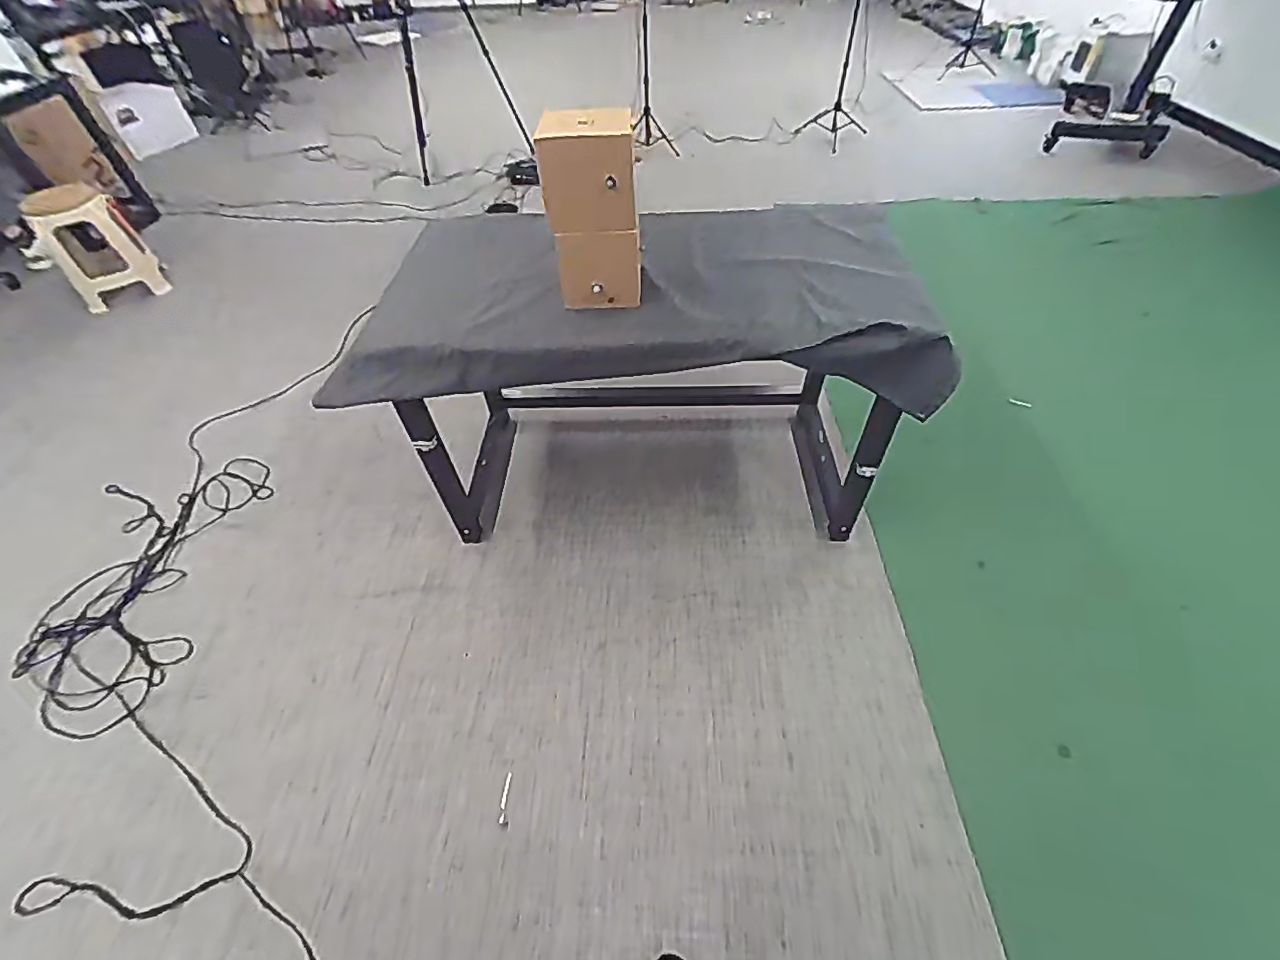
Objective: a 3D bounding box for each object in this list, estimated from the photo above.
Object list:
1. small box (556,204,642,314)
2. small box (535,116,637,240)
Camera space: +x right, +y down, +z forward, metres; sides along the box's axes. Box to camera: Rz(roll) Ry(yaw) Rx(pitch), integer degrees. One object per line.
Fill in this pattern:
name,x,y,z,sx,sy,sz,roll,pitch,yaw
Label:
small box,-0.083,-0.484,1.185,0.168,0.176,0.179,-1,49,2
small box,-0.095,-0.591,1.063,0.179,0.176,0.168,-3,47,2
